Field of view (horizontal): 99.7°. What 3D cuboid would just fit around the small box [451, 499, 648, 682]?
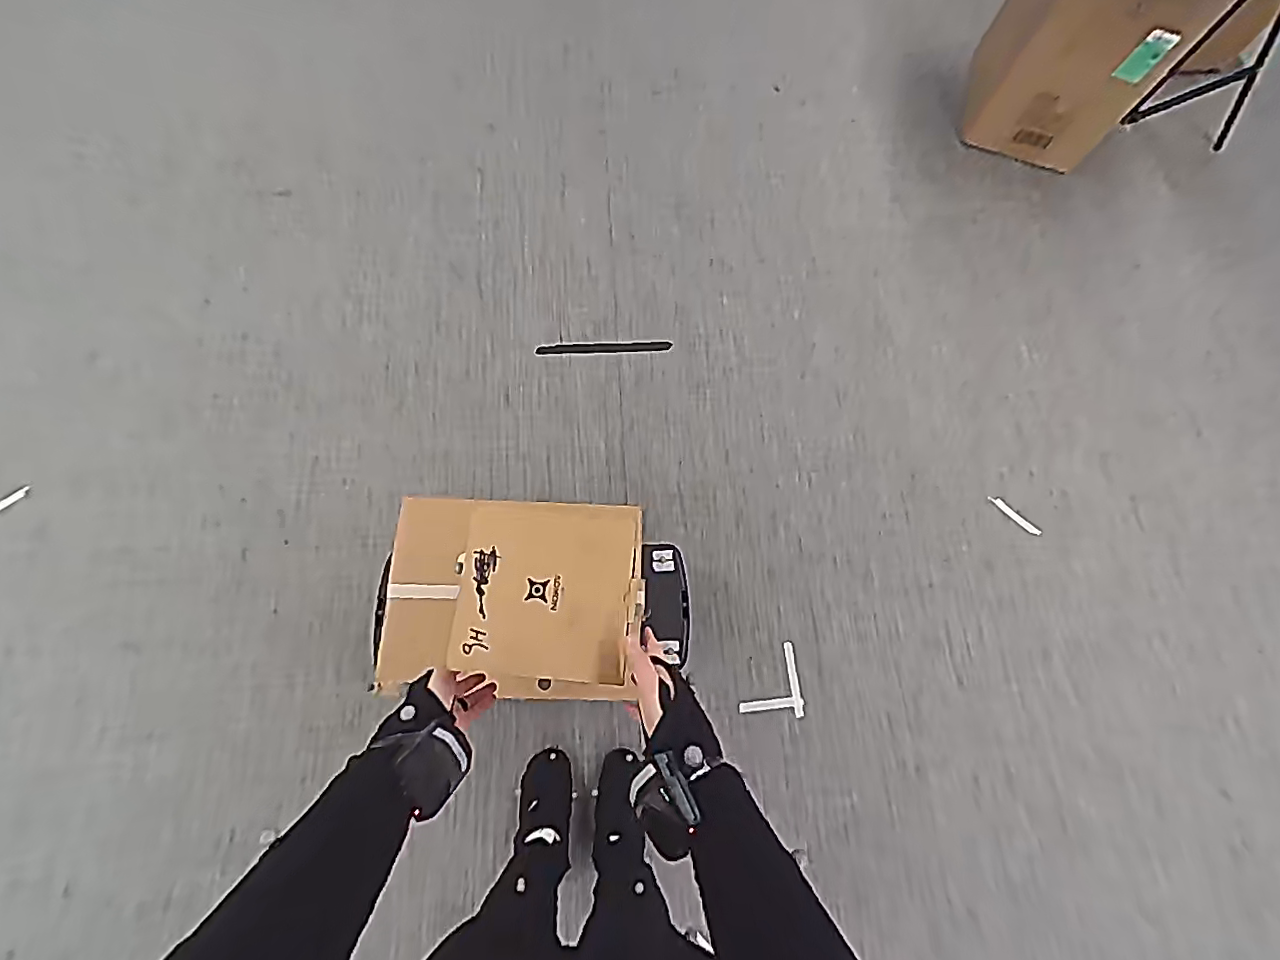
[{"bbox_3d":[-0.092,0.131,0.614,0.179,0.176,0.168,7,71,-3],"label":"small box"}]

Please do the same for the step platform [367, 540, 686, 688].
[{"bbox_3d":[-0.238,0.304,1.229,0.684,0.204,0.286,4,72,-2],"label":"step platform"}]

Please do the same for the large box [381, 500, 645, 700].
[{"bbox_3d":[-0.196,0.228,1.006,0.408,0.320,0.320,2,71,-2],"label":"large box"}]
